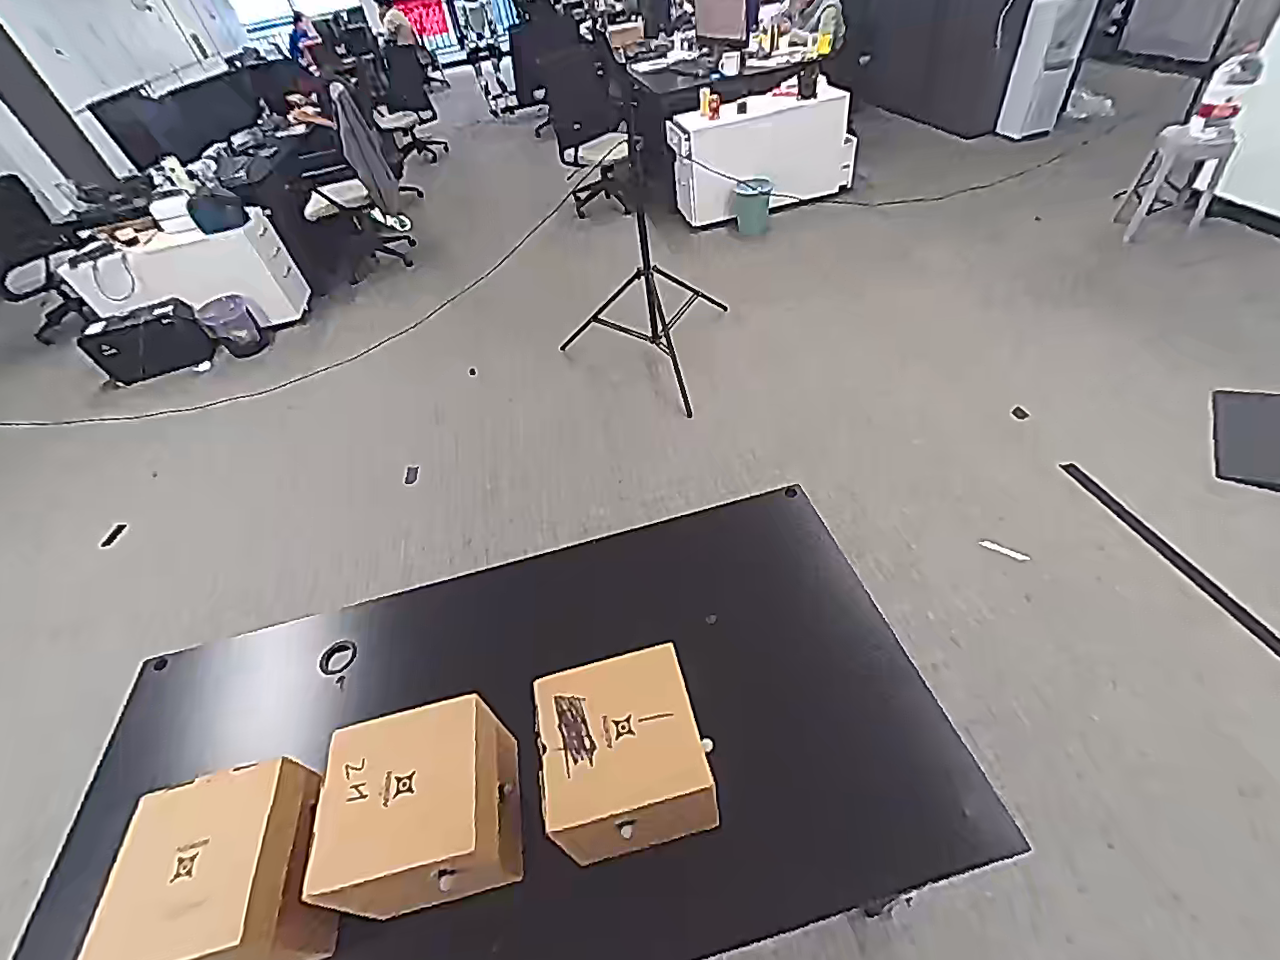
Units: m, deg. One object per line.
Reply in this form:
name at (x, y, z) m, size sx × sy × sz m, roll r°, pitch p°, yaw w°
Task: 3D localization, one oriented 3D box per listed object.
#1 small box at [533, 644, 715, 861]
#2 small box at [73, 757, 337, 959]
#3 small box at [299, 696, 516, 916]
small box at (-0.017, 0.329, 0.648) m, size 0.179 × 0.176 × 0.168 m, roll -14°, pitch 45°, yaw -4°
small box at (-0.460, 0.452, 0.615) m, size 0.168 × 0.176 × 0.179 m, roll -16°, pitch 46°, yaw -3°
small box at (-0.251, 0.385, 0.638) m, size 0.179 × 0.176 × 0.168 m, roll -14°, pitch 45°, yaw -3°
